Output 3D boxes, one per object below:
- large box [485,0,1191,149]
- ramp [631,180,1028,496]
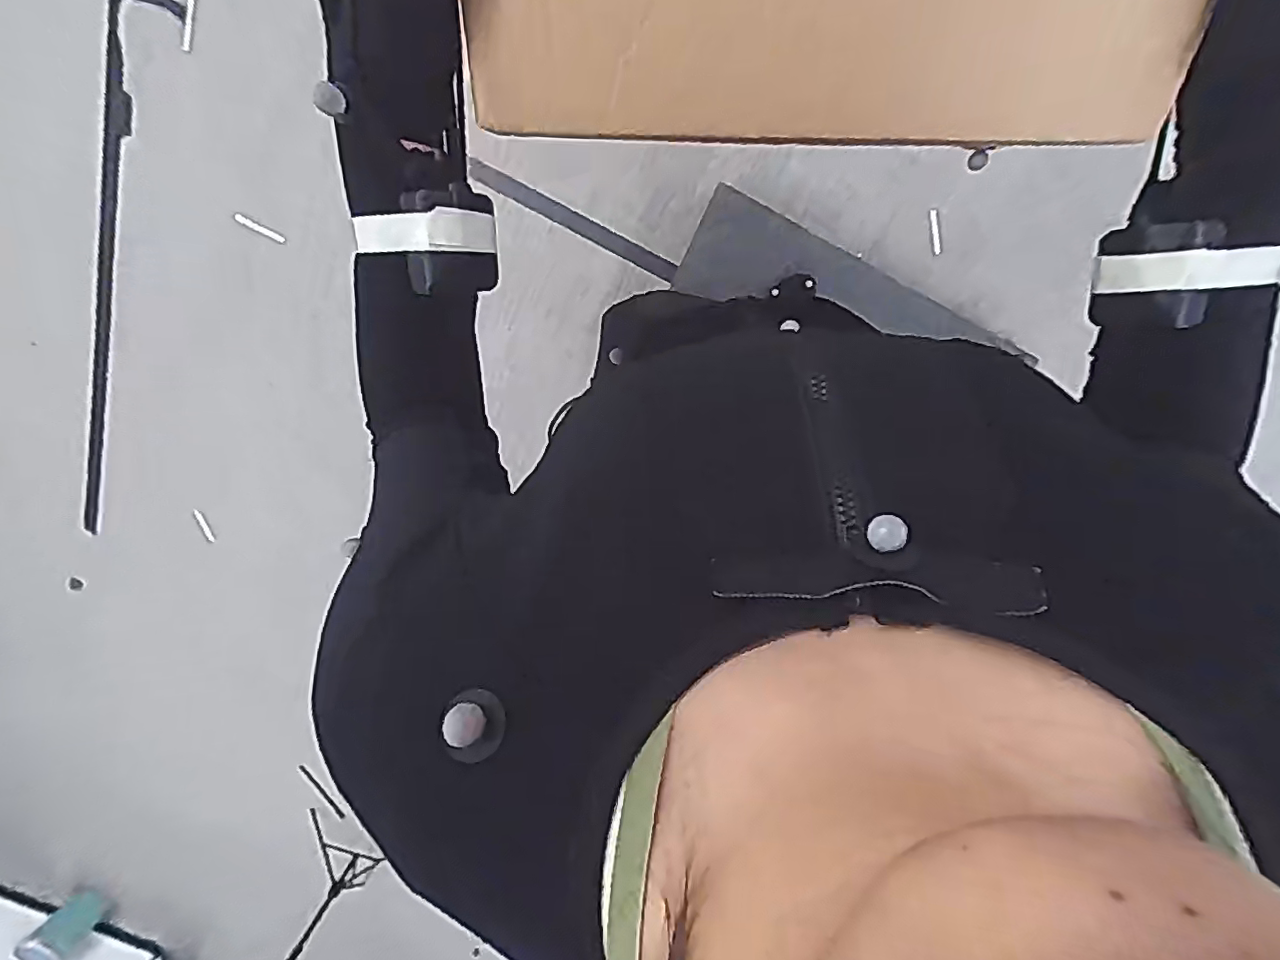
[{"bbox_3d":[0.115,-0.424,0.380,0.408,0.320,0.320,2,122,0],"label":"large box"},{"bbox_3d":[0.522,-0.326,1.455,0.991,0.206,0.509,24,111,-4],"label":"ramp"}]
